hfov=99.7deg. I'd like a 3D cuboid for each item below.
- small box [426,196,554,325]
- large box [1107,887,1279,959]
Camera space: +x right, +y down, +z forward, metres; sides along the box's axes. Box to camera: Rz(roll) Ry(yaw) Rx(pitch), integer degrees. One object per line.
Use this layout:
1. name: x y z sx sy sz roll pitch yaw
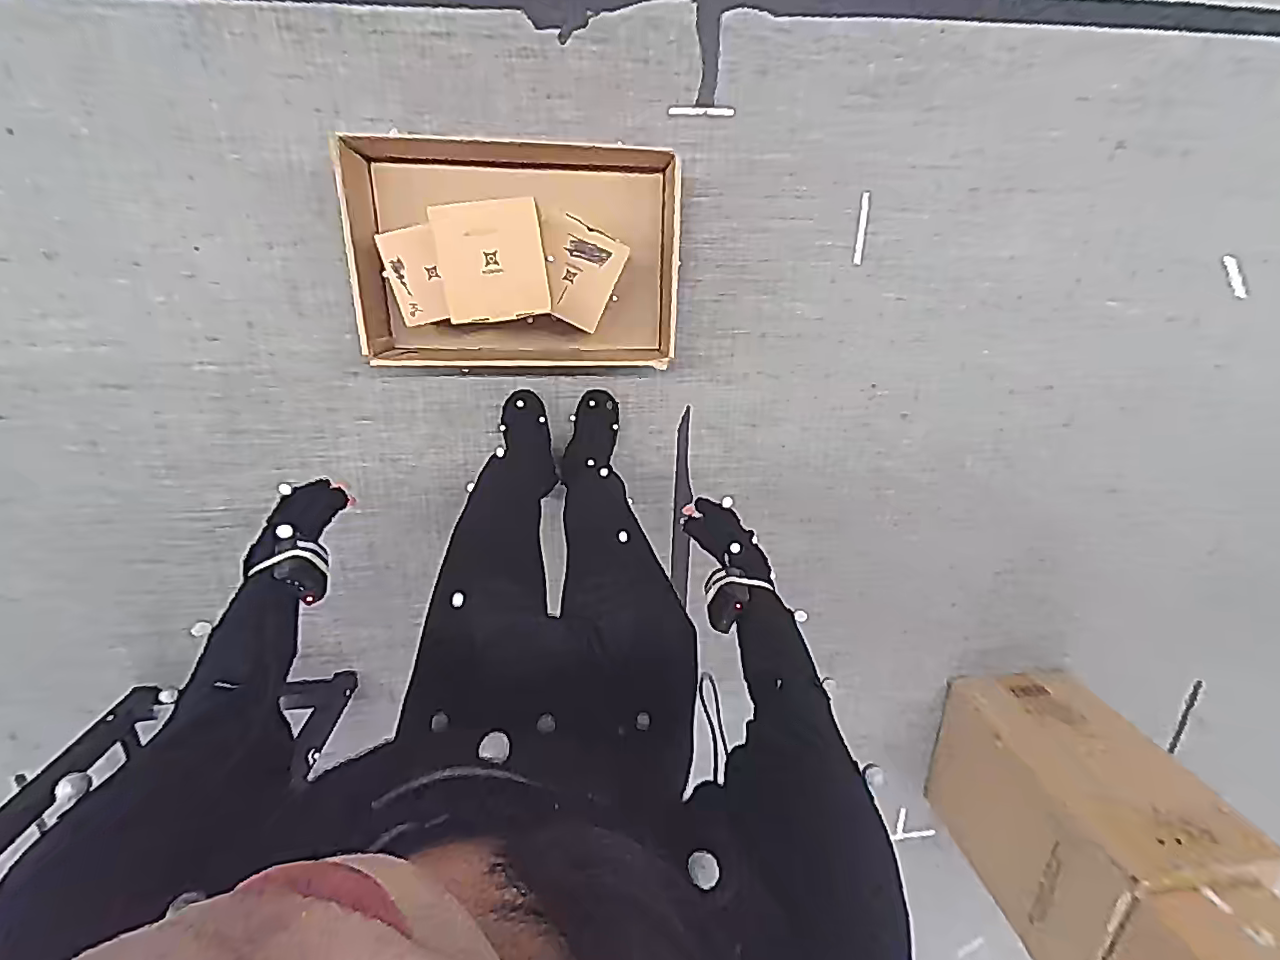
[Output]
1. small box: -0.242 -0.367 0.921 0.168 0.176 0.179 -9 109 -4
2. large box: 1.230 1.133 1.108 0.320 0.320 0.408 0 111 -5
